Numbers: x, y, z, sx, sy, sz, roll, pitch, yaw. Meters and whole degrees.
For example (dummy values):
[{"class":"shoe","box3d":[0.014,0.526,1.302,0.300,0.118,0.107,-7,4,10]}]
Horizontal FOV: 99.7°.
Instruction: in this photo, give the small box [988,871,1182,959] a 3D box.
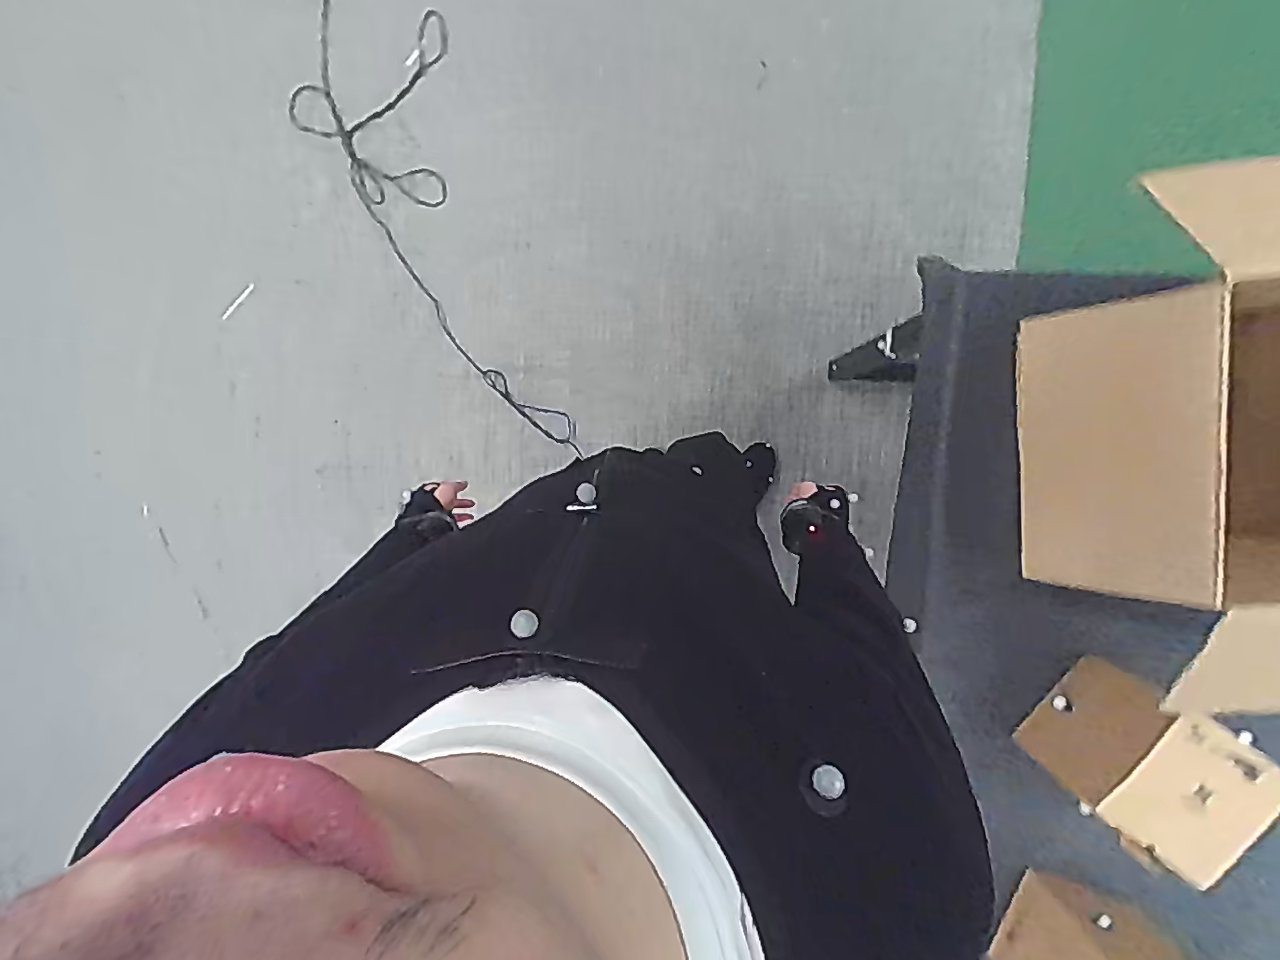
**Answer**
[{"class":"small box","box3d":[0.641,0.704,0.761,0.179,0.176,0.168,21,97,2]}]

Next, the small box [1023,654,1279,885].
[{"class":"small box","box3d":[0.672,0.376,0.733,0.168,0.176,0.179,38,97,1]}]
